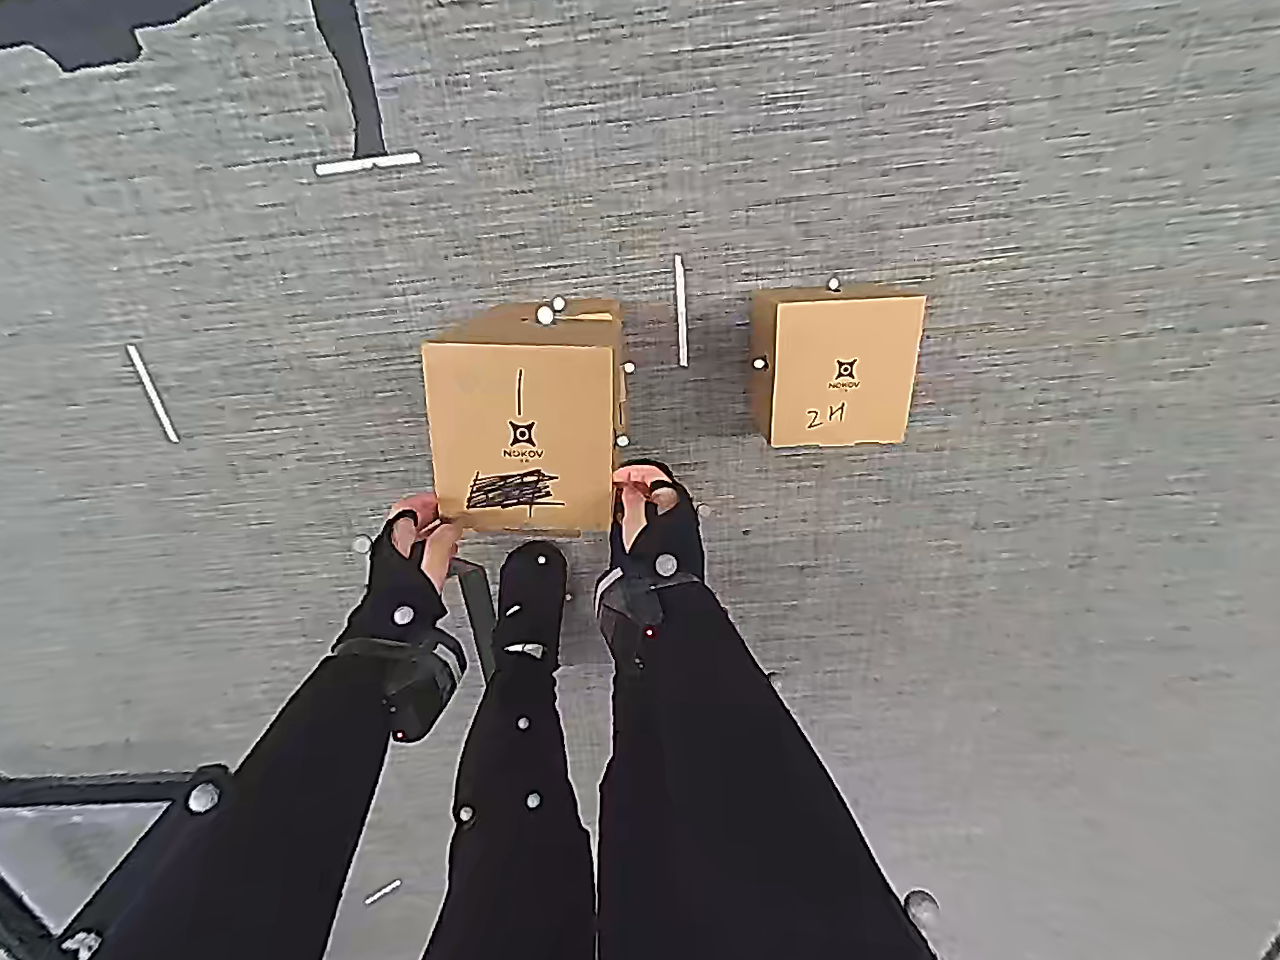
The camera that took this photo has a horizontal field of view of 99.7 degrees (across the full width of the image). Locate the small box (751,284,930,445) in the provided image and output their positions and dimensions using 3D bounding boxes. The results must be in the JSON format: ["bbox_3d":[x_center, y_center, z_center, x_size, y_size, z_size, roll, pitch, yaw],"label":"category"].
[{"bbox_3d":[0.241,-0.156,0.698,0.168,0.176,0.179,-1,115,2],"label":"small box"}]

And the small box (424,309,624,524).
[{"bbox_3d":[-0.103,-0.073,0.559,0.168,0.176,0.179,2,114,-1],"label":"small box"}]

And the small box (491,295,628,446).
[{"bbox_3d":[-0.107,-0.146,0.707,0.179,0.176,0.168,-2,114,0],"label":"small box"}]
